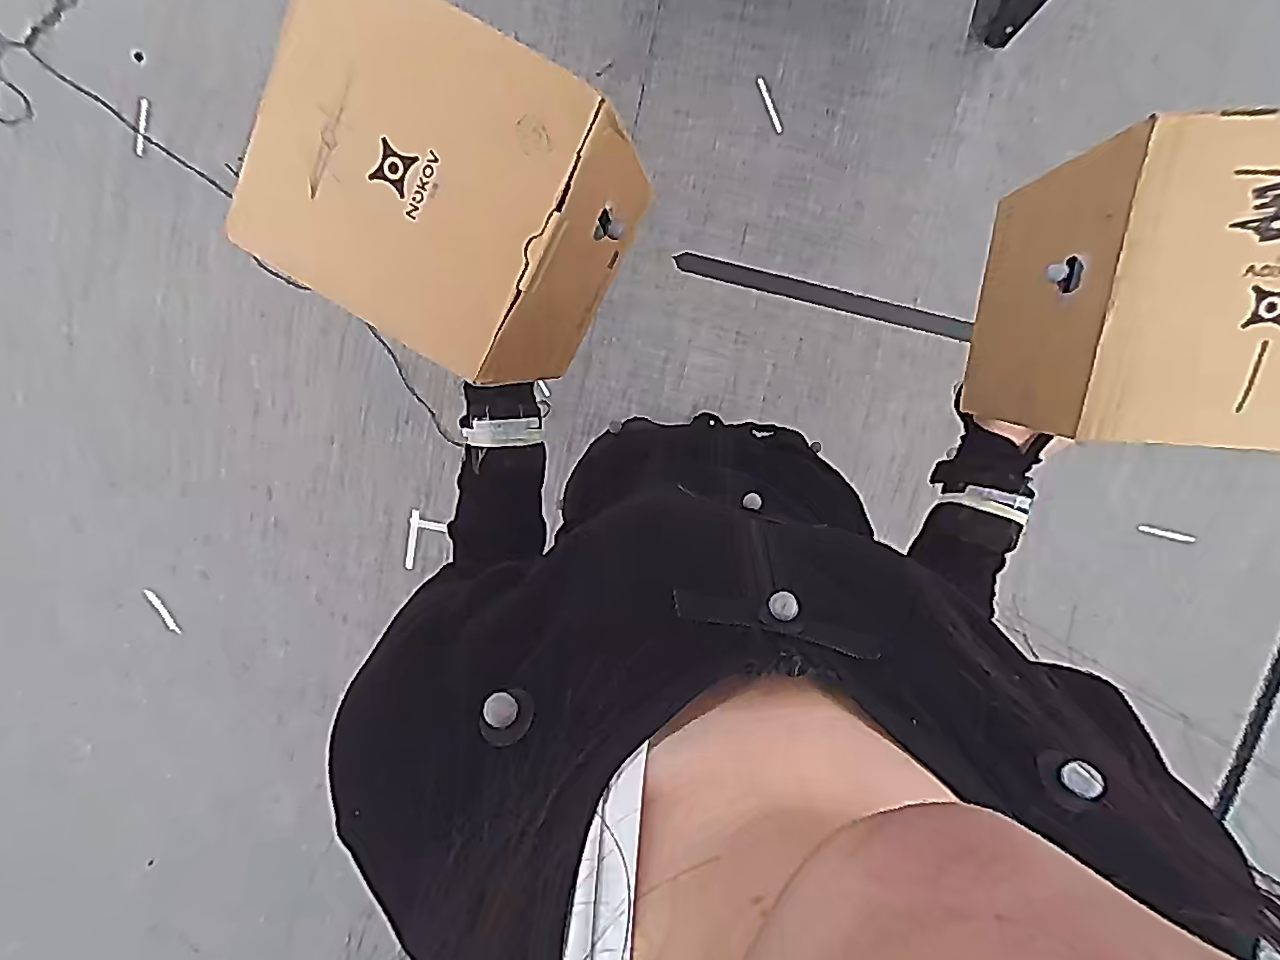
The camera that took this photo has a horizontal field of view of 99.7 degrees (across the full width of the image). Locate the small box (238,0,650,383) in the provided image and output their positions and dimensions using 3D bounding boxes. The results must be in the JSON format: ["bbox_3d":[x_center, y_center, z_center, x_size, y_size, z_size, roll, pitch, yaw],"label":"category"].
[{"bbox_3d":[-0.110,-0.183,0.370,0.179,0.176,0.168,31,104,2],"label":"small box"}]

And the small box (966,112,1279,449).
[{"bbox_3d":[0.358,-0.122,0.375,0.168,0.176,0.179,5,104,7],"label":"small box"}]
